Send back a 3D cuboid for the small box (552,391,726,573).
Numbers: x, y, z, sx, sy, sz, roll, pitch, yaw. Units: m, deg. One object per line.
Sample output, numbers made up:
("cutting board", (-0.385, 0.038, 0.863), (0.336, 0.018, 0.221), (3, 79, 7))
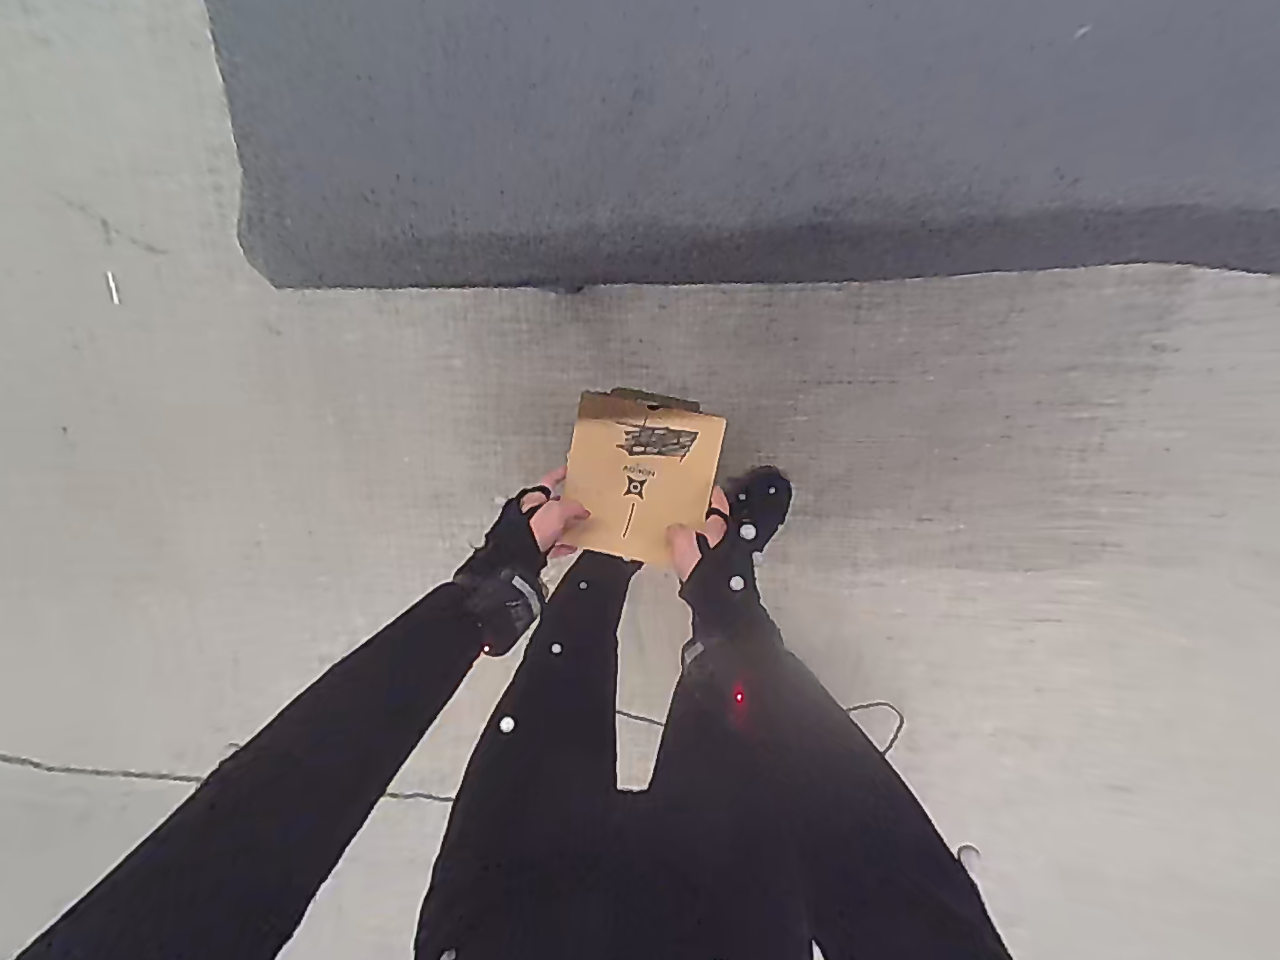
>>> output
("small box", (0.005, 0.003, 0.669), (0.168, 0.176, 0.179), (11, 89, 7))
